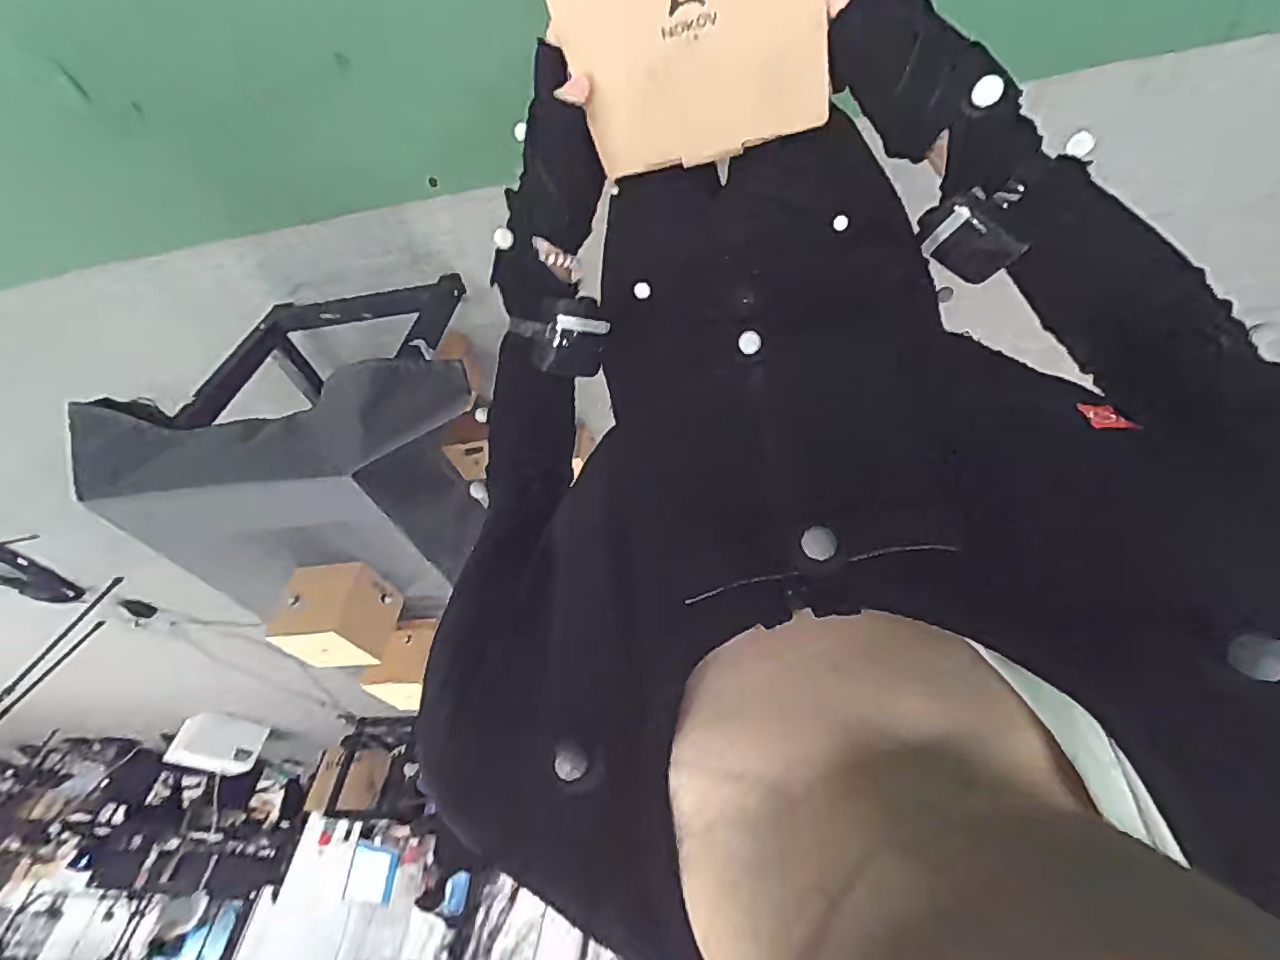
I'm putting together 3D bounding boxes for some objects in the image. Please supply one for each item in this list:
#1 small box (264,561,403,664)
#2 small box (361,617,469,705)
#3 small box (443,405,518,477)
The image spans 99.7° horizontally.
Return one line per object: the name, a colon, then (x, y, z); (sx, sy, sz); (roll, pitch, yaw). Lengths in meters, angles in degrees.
small box: (-0.664, 0.294, 1.196); (0.179, 0.176, 0.168); (-6, 140, 13)
small box: (-0.570, 0.469, 1.397); (0.168, 0.176, 0.179); (-8, 138, 14)
small box: (-0.526, -0.134, 1.802); (0.168, 0.176, 0.179); (-6, 140, 12)
